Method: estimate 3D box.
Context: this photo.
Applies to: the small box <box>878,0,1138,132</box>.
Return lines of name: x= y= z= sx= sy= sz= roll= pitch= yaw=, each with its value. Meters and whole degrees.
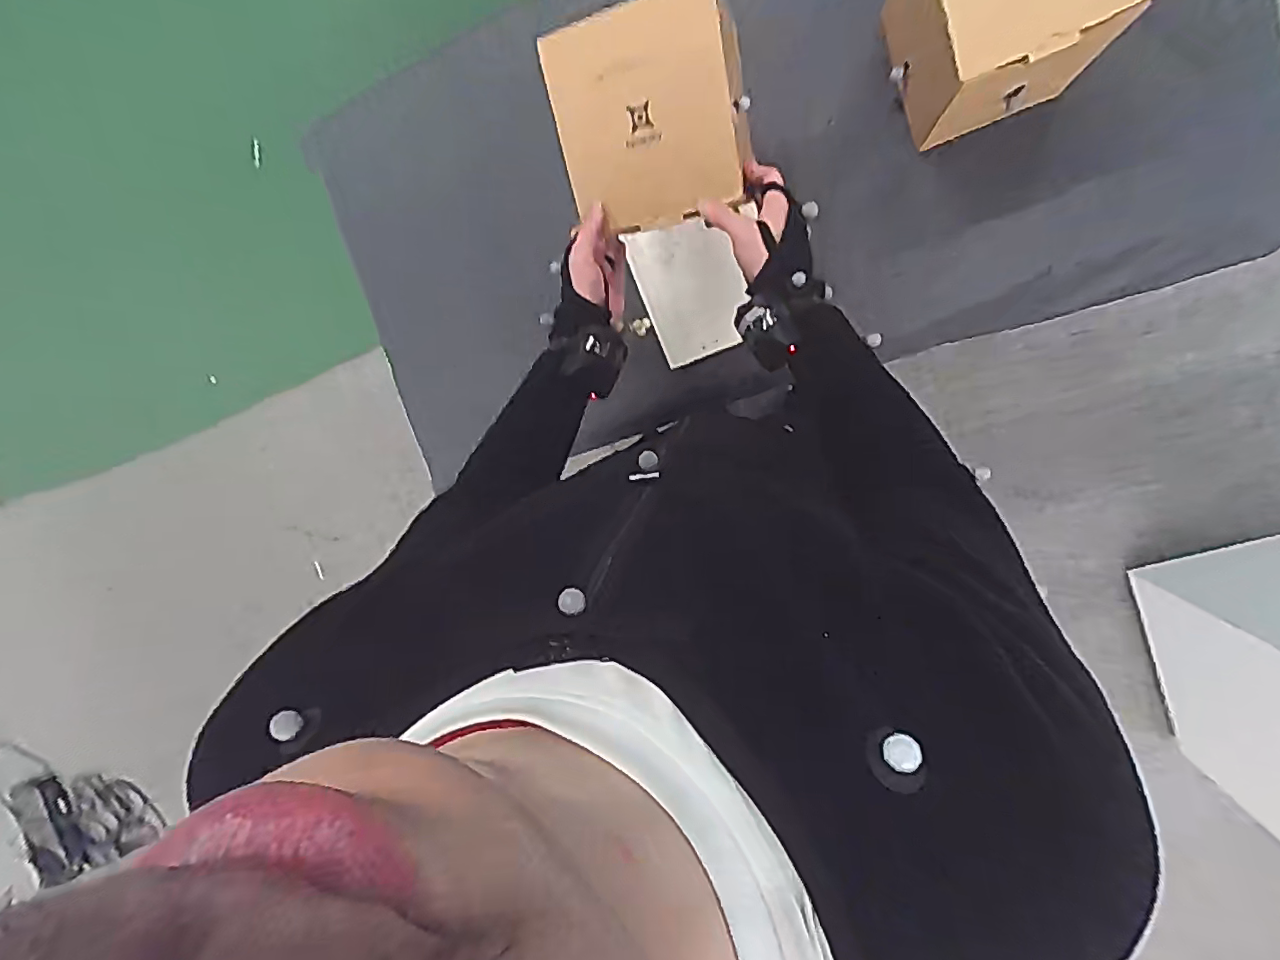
small box: x=0.378 y=-0.515 z=0.585 sx=0.168 sy=0.176 sz=0.179 roll=-17 pitch=98 yaw=14

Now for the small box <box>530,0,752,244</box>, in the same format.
small box: x=0.017 y=-0.361 z=0.557 sx=0.168 sy=0.176 sz=0.179 roll=-7 pitch=114 yaw=20
